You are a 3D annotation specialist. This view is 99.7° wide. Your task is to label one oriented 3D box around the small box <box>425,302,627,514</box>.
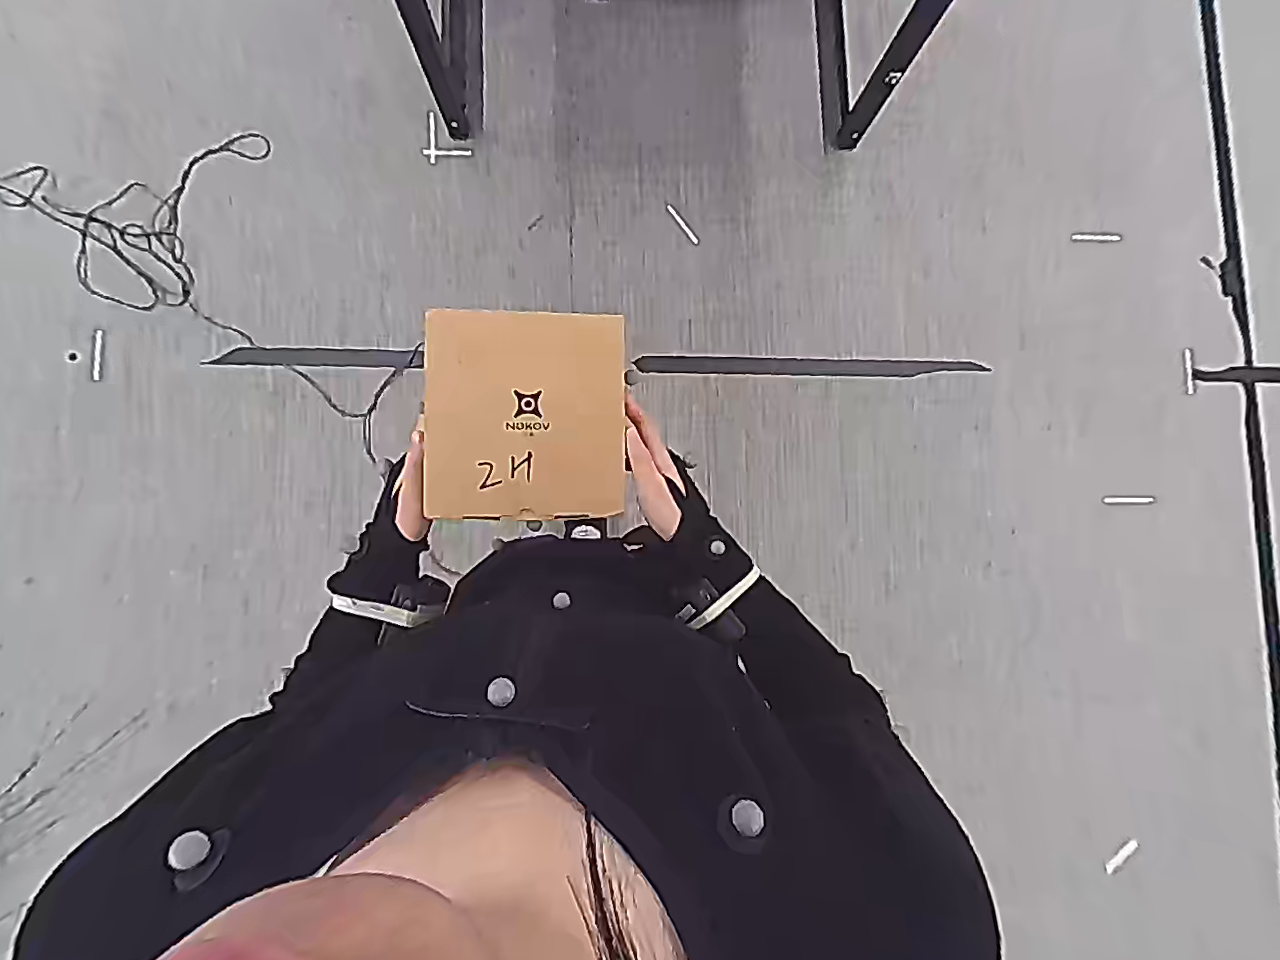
[{"bbox_3d":[-0.103,-0.055,0.530,0.168,0.176,0.179,0,87,-7],"label":"small box"}]
